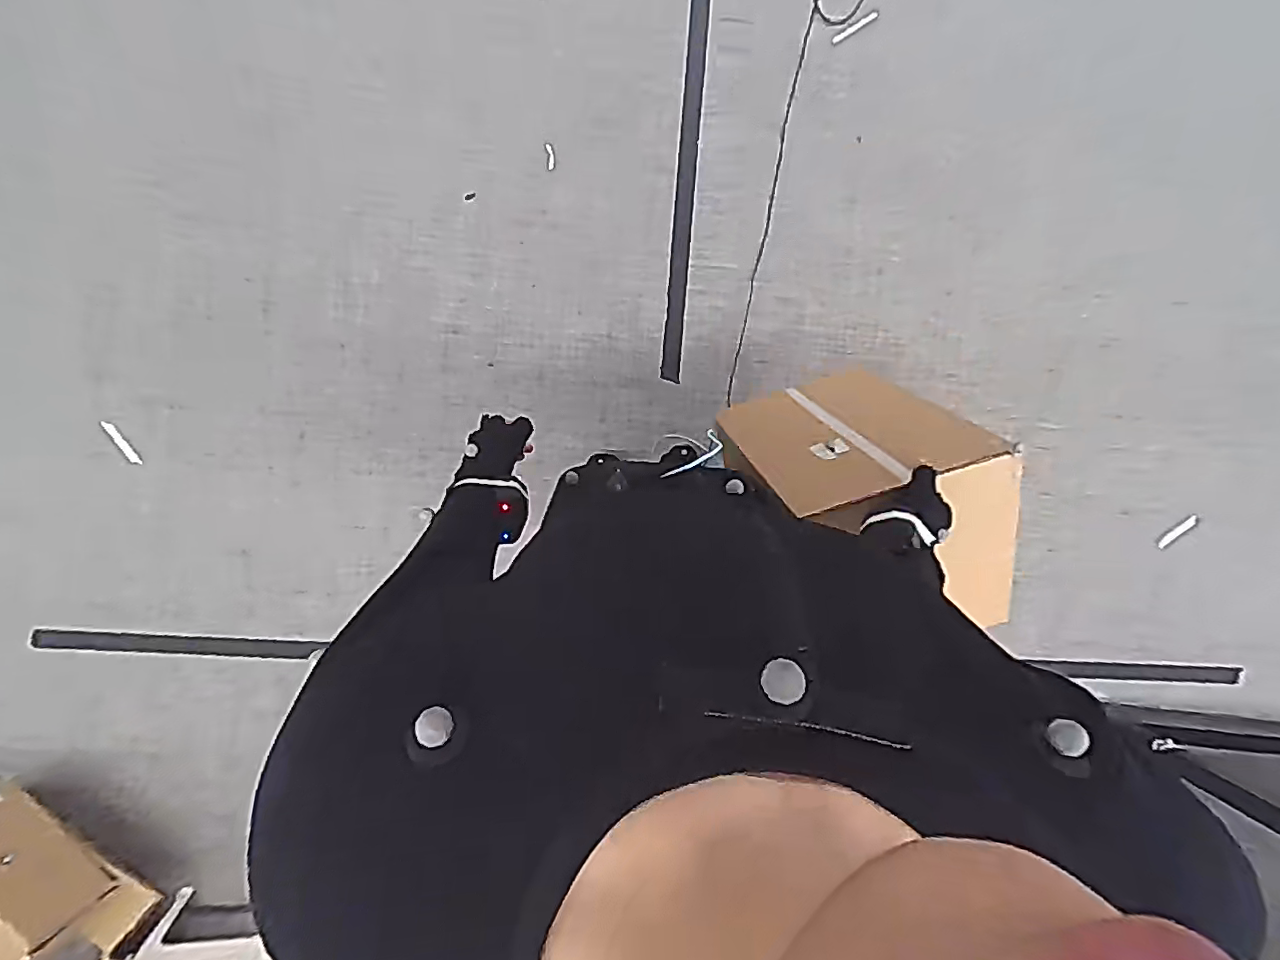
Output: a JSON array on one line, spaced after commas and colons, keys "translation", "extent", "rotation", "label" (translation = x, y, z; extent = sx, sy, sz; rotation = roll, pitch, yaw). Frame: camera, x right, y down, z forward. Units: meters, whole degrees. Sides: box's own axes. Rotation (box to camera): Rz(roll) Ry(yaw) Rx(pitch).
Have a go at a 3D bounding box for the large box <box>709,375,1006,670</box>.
[{"translation": [0.349, 0.050, 0.965], "extent": [0.320, 0.408, 0.320], "rotation": [-18, 120, -1], "label": "large box"}]
